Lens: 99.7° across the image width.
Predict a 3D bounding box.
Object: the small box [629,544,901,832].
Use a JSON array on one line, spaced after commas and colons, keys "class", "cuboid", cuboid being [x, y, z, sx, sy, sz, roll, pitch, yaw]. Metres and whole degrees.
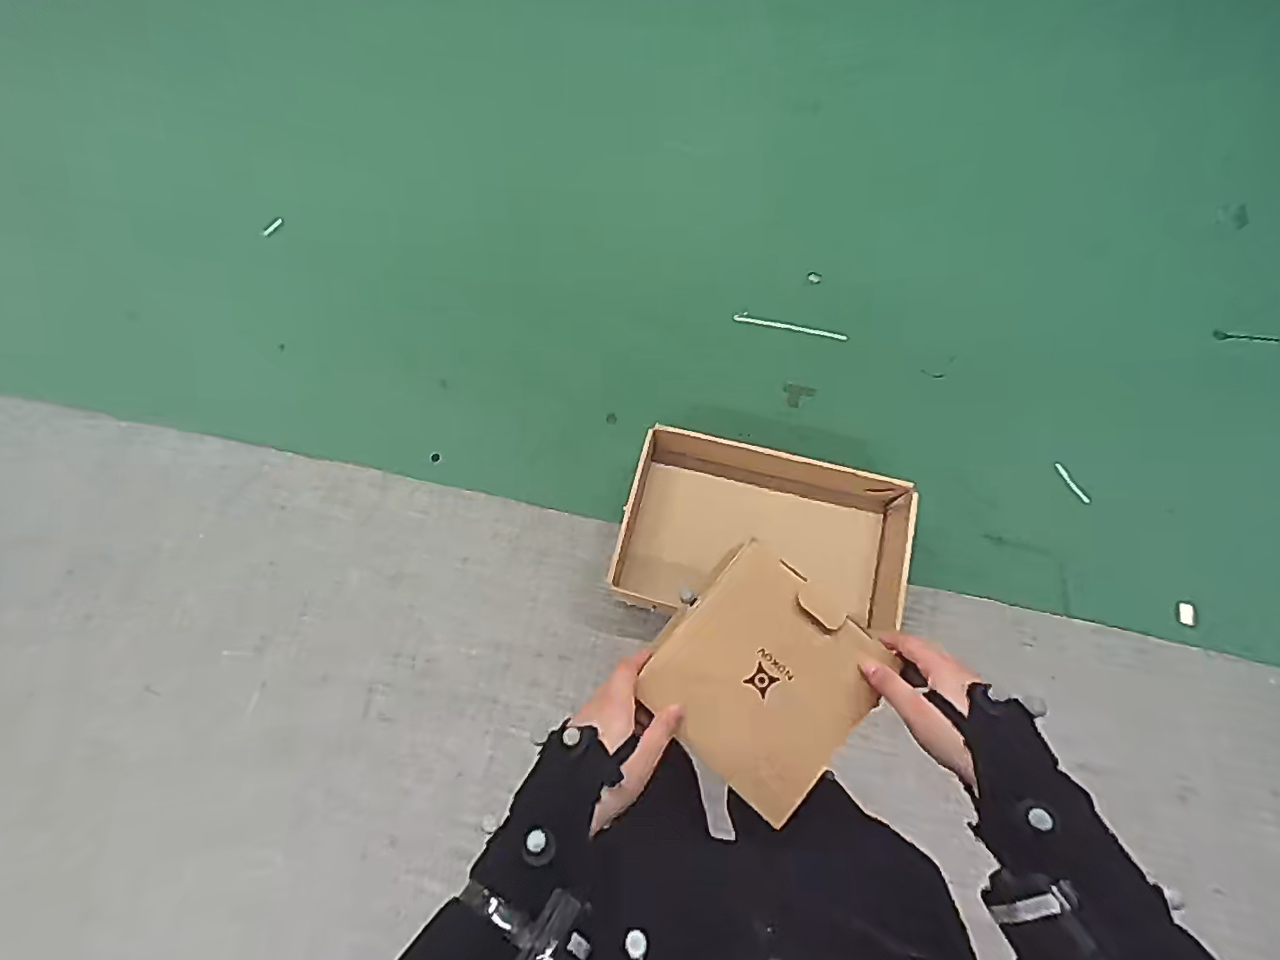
[{"class": "small box", "cuboid": [0.111, 0.188, 0.537, 0.168, 0.176, 0.179, 39, 82, 10]}]
